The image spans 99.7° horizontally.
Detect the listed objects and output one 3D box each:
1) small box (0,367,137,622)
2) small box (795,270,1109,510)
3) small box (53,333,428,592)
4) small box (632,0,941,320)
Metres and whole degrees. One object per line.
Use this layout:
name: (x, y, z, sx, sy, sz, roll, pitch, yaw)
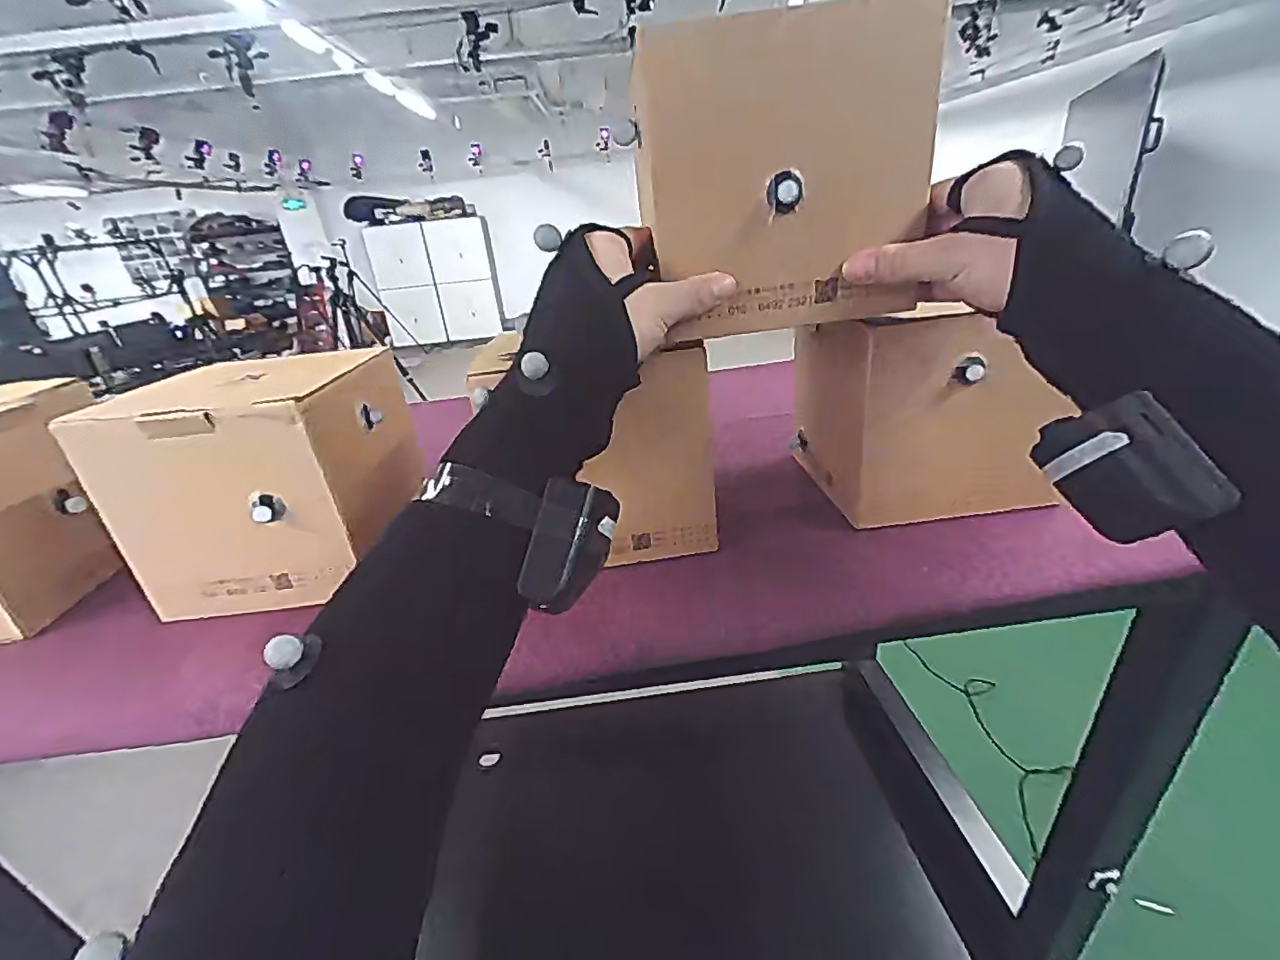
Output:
small box: (-0.572, 0.015, 0.448, 0.179, 0.176, 0.168, -7, 26, -5)
small box: (0.248, -0.083, 0.479, 0.179, 0.176, 0.168, -7, 25, -1)
small box: (-0.301, -0.017, 0.462, 0.168, 0.176, 0.179, -5, 25, 0)
small box: (0.086, -0.216, 0.386, 0.168, 0.176, 0.179, -7, 27, 1)
